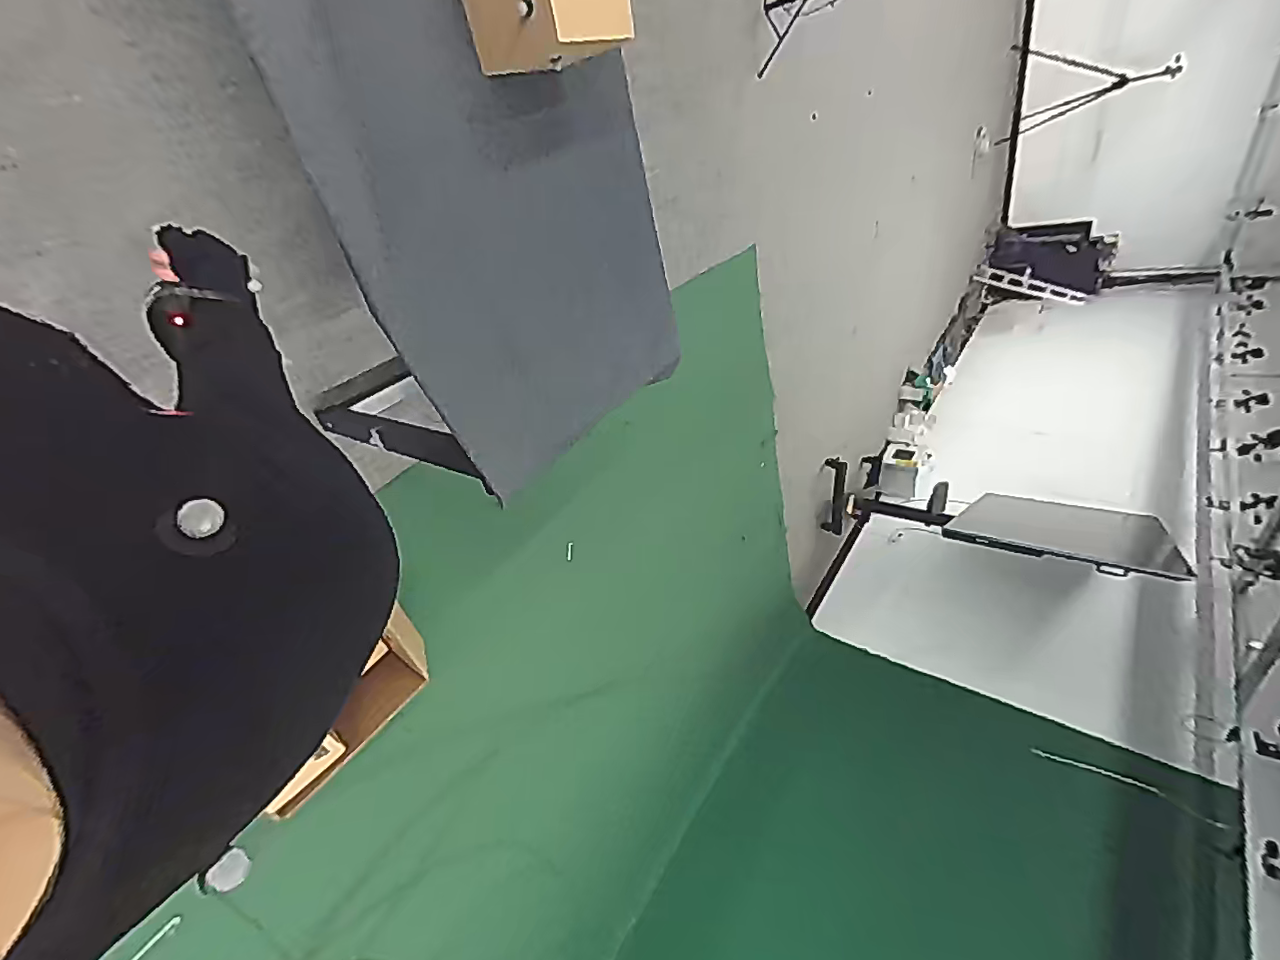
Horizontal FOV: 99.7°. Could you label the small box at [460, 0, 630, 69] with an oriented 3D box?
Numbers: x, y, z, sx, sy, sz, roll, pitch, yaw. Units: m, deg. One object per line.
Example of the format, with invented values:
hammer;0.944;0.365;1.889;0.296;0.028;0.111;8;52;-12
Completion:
small box;-0.142;-0.693;0.749;0.168;0.176;0.179;-41;131;-37
